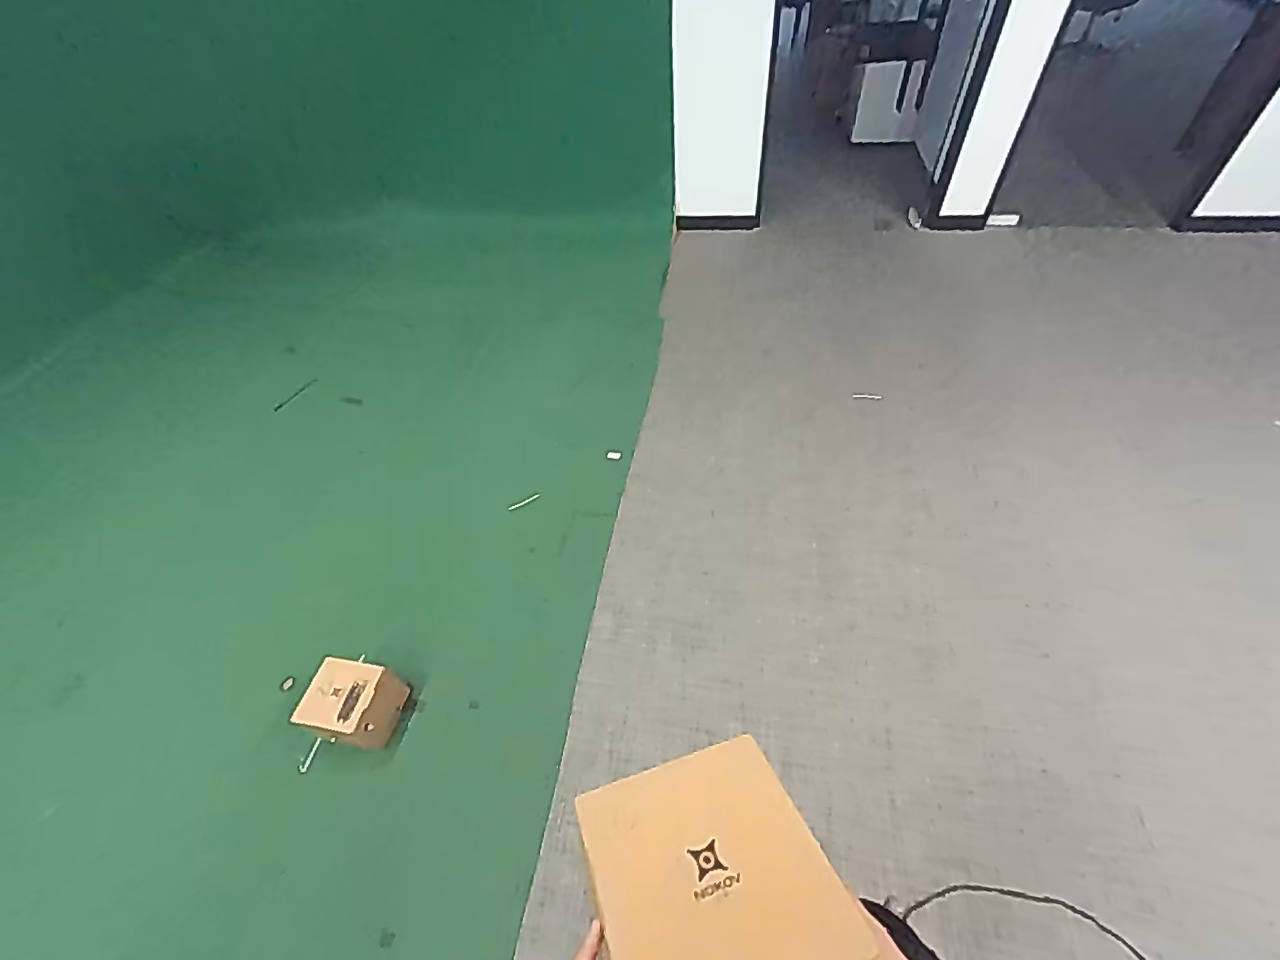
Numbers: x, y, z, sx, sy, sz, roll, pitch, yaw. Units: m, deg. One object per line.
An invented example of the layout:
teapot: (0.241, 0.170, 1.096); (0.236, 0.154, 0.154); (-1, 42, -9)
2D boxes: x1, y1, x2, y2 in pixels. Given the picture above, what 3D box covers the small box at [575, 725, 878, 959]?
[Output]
small box: (0.051, 0.341, 0.428); (0.168, 0.176, 0.179); (-12, 29, -15)
